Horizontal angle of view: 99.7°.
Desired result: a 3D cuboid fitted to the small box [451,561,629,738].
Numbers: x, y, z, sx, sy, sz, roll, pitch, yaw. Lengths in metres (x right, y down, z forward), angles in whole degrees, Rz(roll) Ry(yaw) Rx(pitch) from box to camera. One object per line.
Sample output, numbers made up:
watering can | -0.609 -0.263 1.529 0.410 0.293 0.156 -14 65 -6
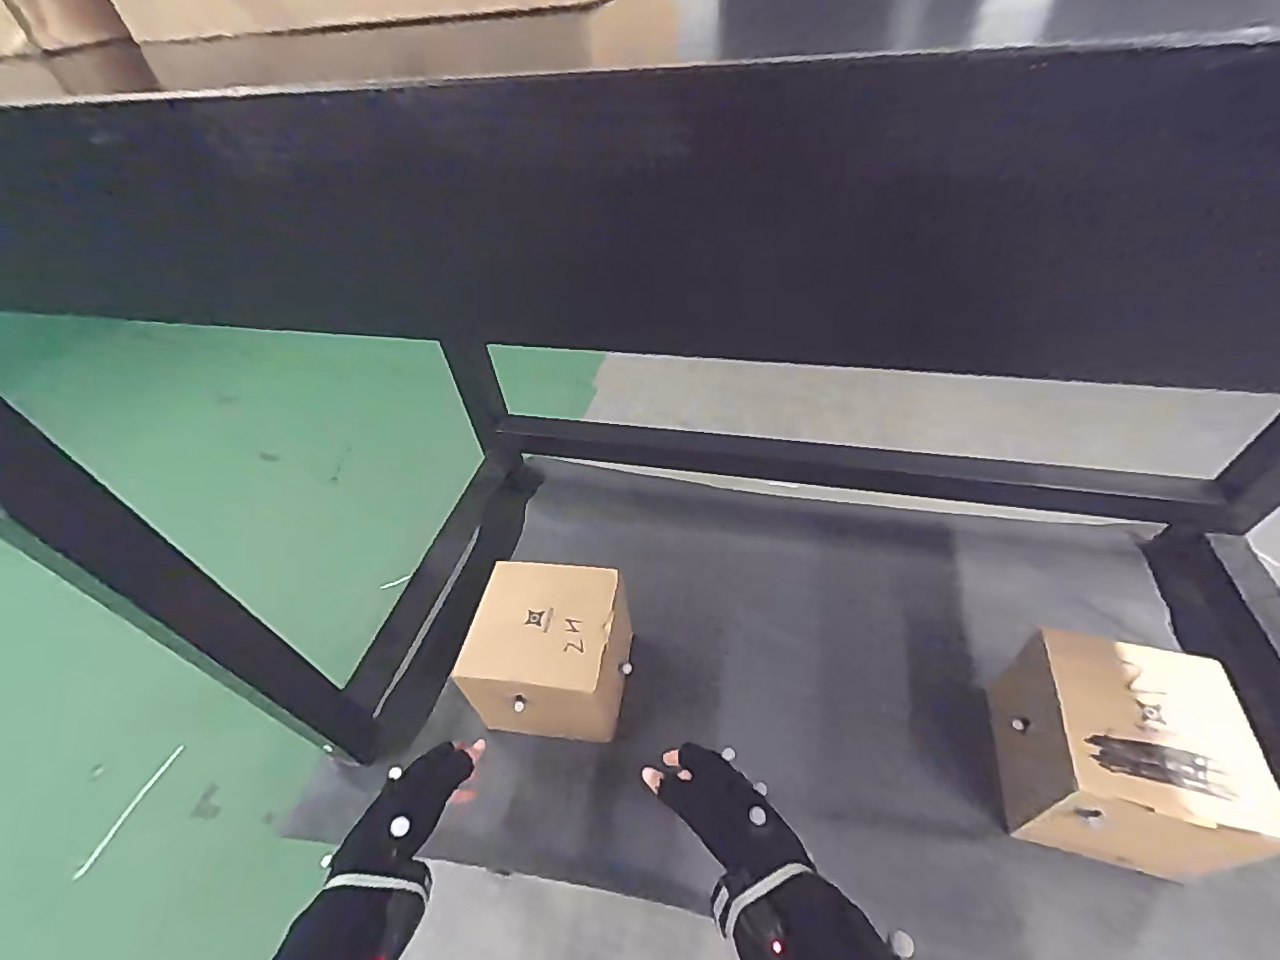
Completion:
small box | -0.119 0.229 0.729 0.179 0.176 0.168 4 47 9

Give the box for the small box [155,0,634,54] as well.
small box | -0.085 -0.255 0.176 0.168 0.176 0.179 6 46 12
